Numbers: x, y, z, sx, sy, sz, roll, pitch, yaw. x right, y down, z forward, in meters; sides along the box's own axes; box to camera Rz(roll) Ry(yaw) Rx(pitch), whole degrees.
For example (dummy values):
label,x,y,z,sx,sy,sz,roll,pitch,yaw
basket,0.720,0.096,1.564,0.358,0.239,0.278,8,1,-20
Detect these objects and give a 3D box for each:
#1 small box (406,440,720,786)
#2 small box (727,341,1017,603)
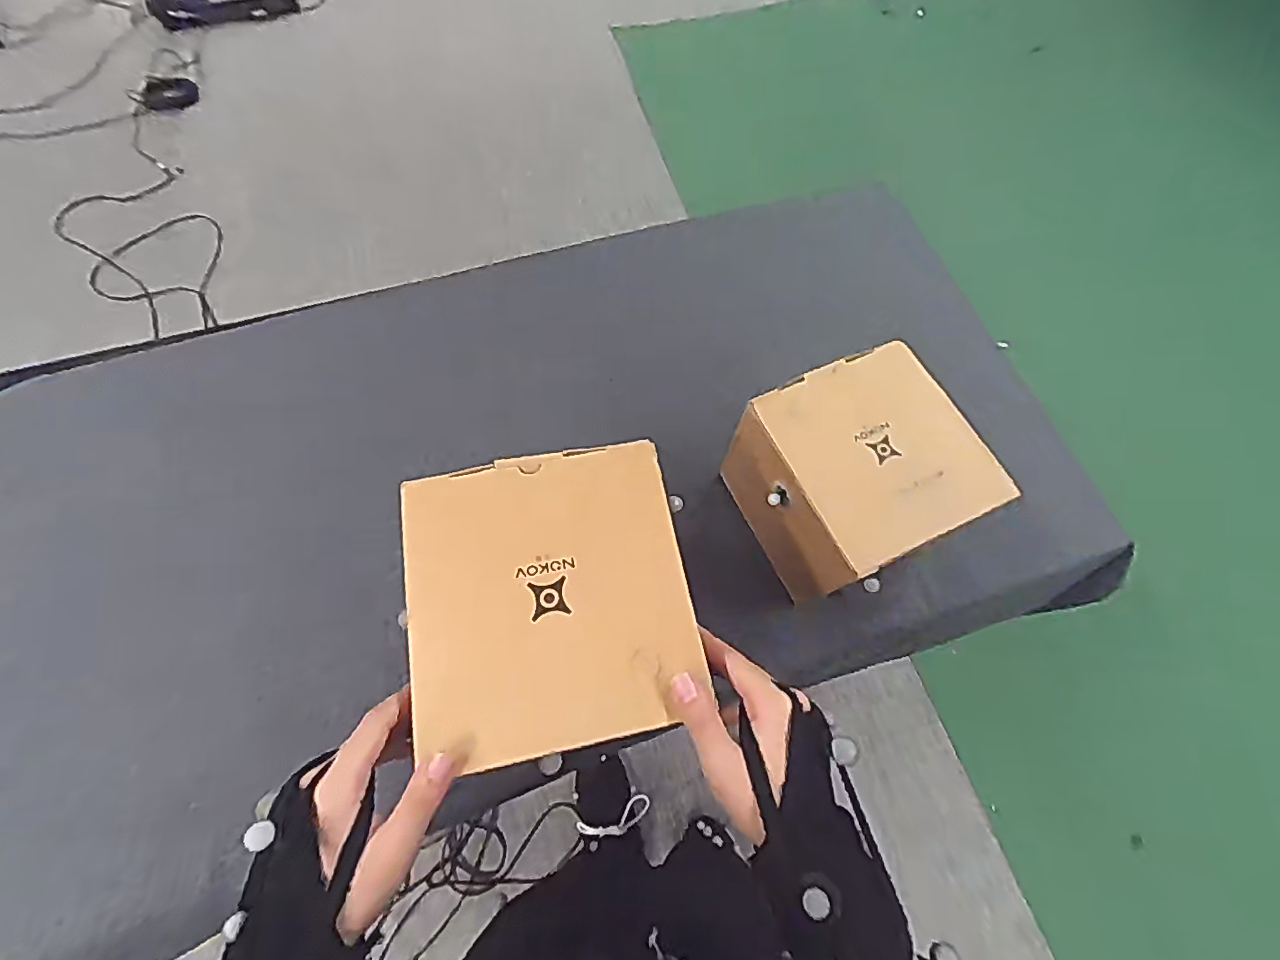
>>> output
label,x,y,z,sx,sy,sz,roll,pitch,yaw
small box,-0.053,0.095,0.391,0.168,0.176,0.179,-10,68,-7
small box,0.204,0.001,0.537,0.168,0.176,0.179,-24,71,-10
